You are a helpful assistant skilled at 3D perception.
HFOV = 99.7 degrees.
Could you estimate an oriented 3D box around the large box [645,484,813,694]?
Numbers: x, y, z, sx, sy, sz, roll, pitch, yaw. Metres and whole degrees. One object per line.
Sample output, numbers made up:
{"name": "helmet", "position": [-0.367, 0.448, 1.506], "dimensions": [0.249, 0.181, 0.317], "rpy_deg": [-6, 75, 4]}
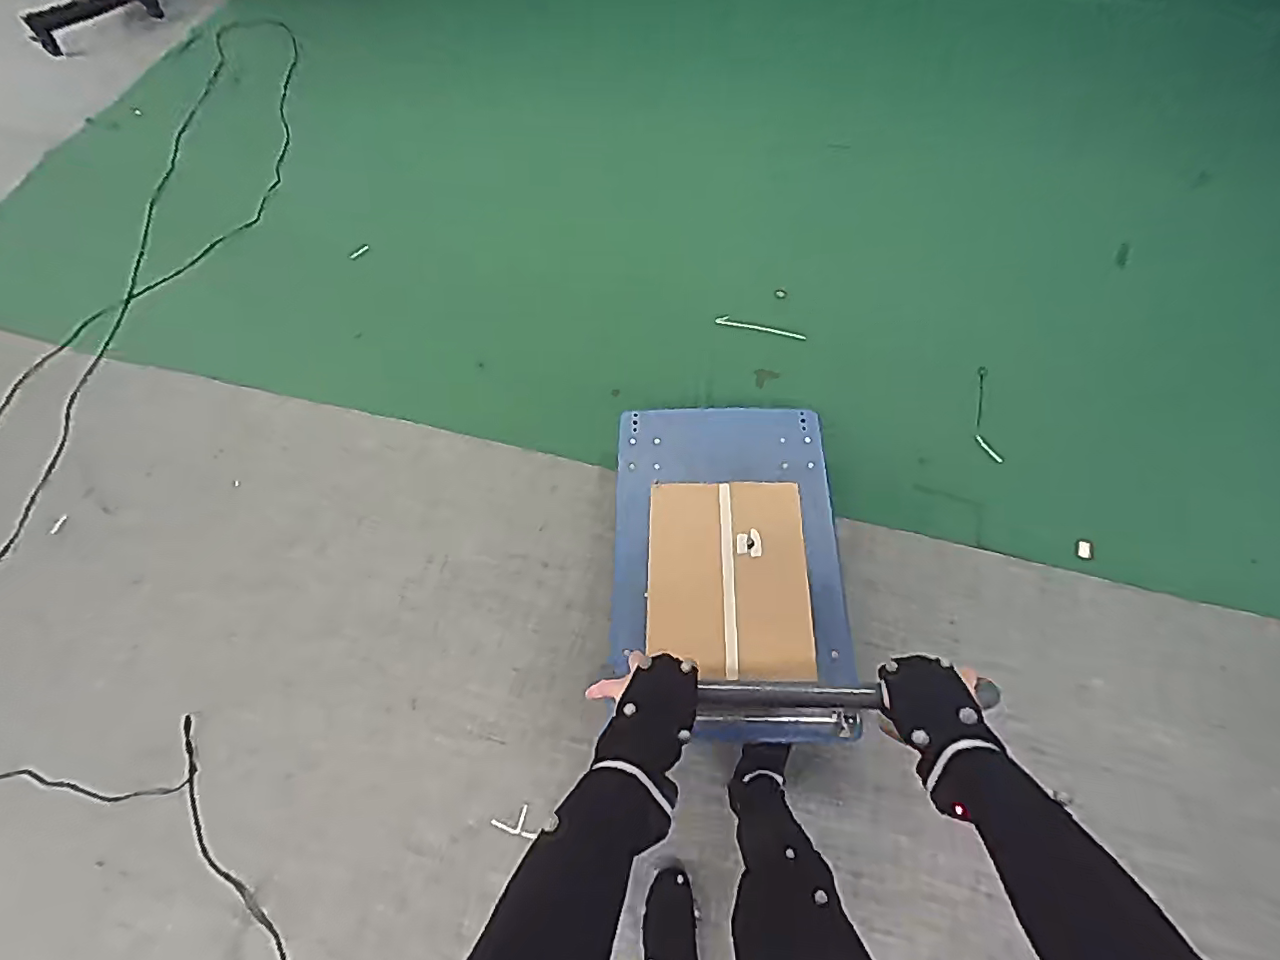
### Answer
{"name": "large box", "position": [0.178, 0.257, 1.218], "dimensions": [0.320, 0.320, 0.408], "rpy_deg": [0, 64, 4]}
